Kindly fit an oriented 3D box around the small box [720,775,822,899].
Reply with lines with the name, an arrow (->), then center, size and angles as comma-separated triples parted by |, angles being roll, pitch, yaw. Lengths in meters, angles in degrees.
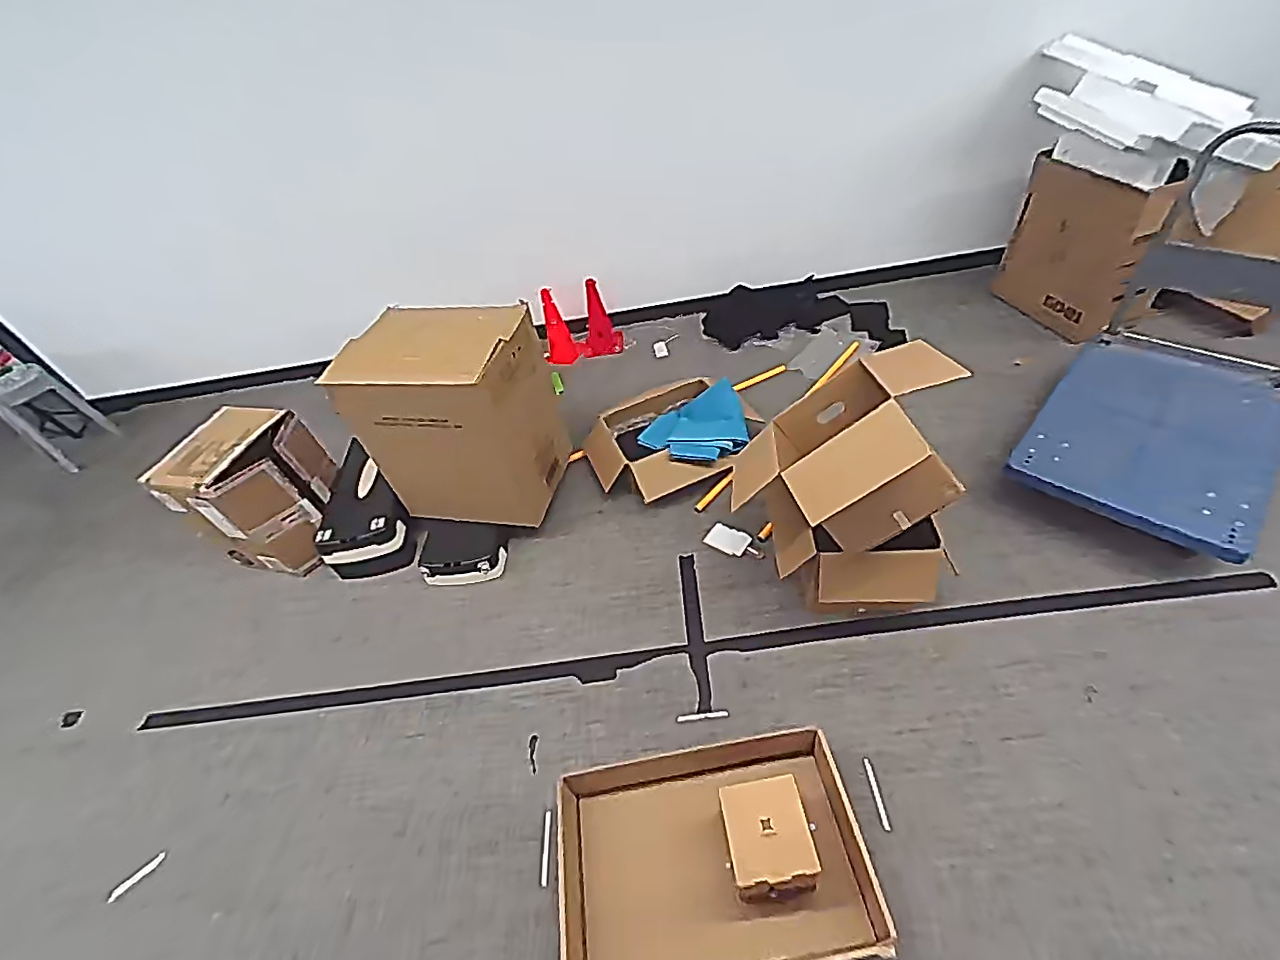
small box -> 0.269, 0.756, 1.144 | 0.168, 0.176, 0.179 | -12, 45, 1
